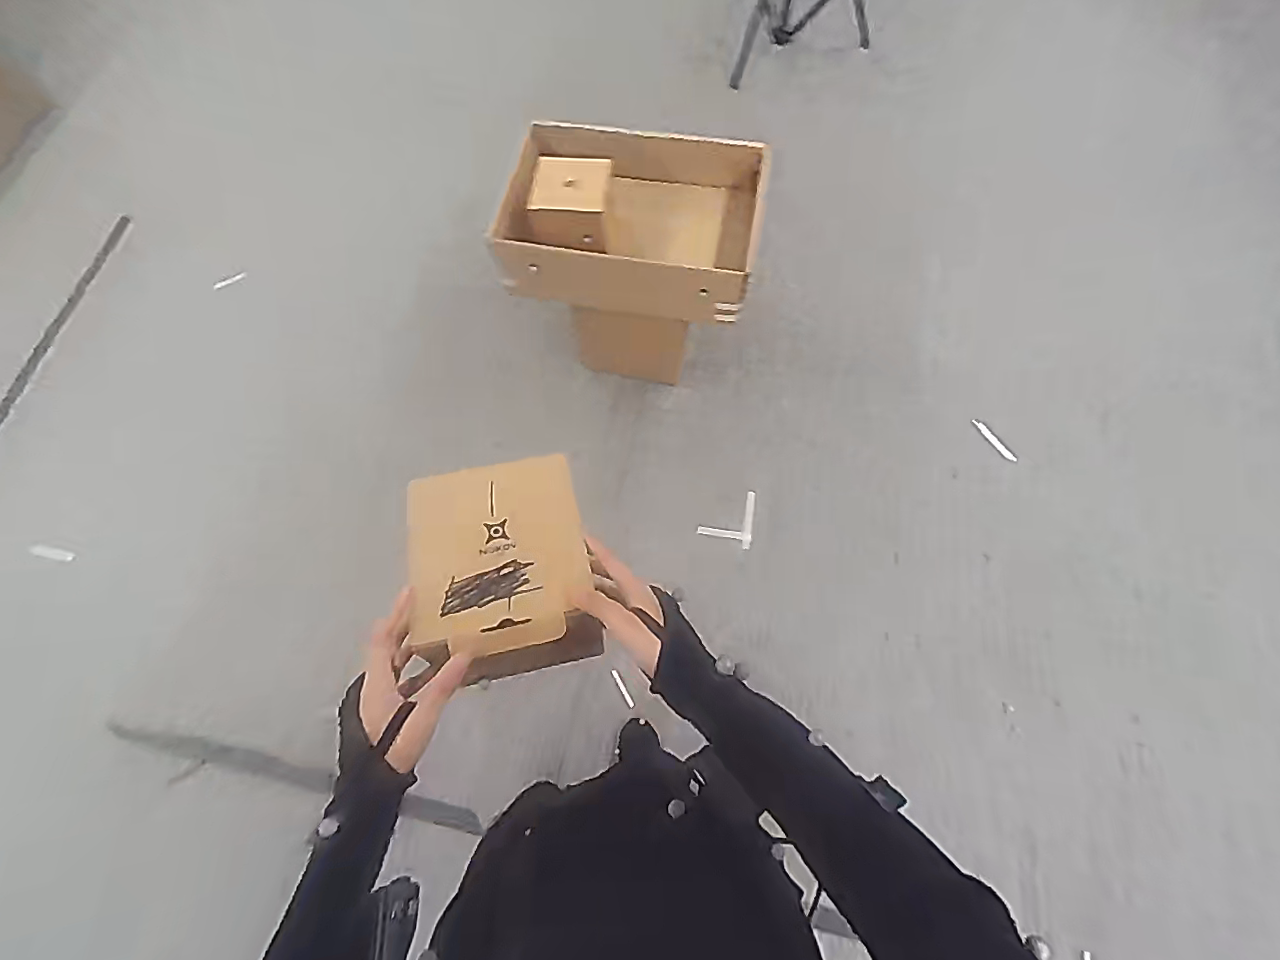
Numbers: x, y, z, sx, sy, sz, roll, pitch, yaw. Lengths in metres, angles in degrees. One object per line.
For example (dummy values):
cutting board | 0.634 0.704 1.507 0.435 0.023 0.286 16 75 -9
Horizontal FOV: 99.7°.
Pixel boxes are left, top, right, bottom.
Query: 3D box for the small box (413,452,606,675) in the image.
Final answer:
small box | -0.132 0.097 0.581 0.168 0.176 0.179 -10 58 -7

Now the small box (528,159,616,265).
small box | -0.159 -0.653 1.331 0.179 0.176 0.168 5 70 6
